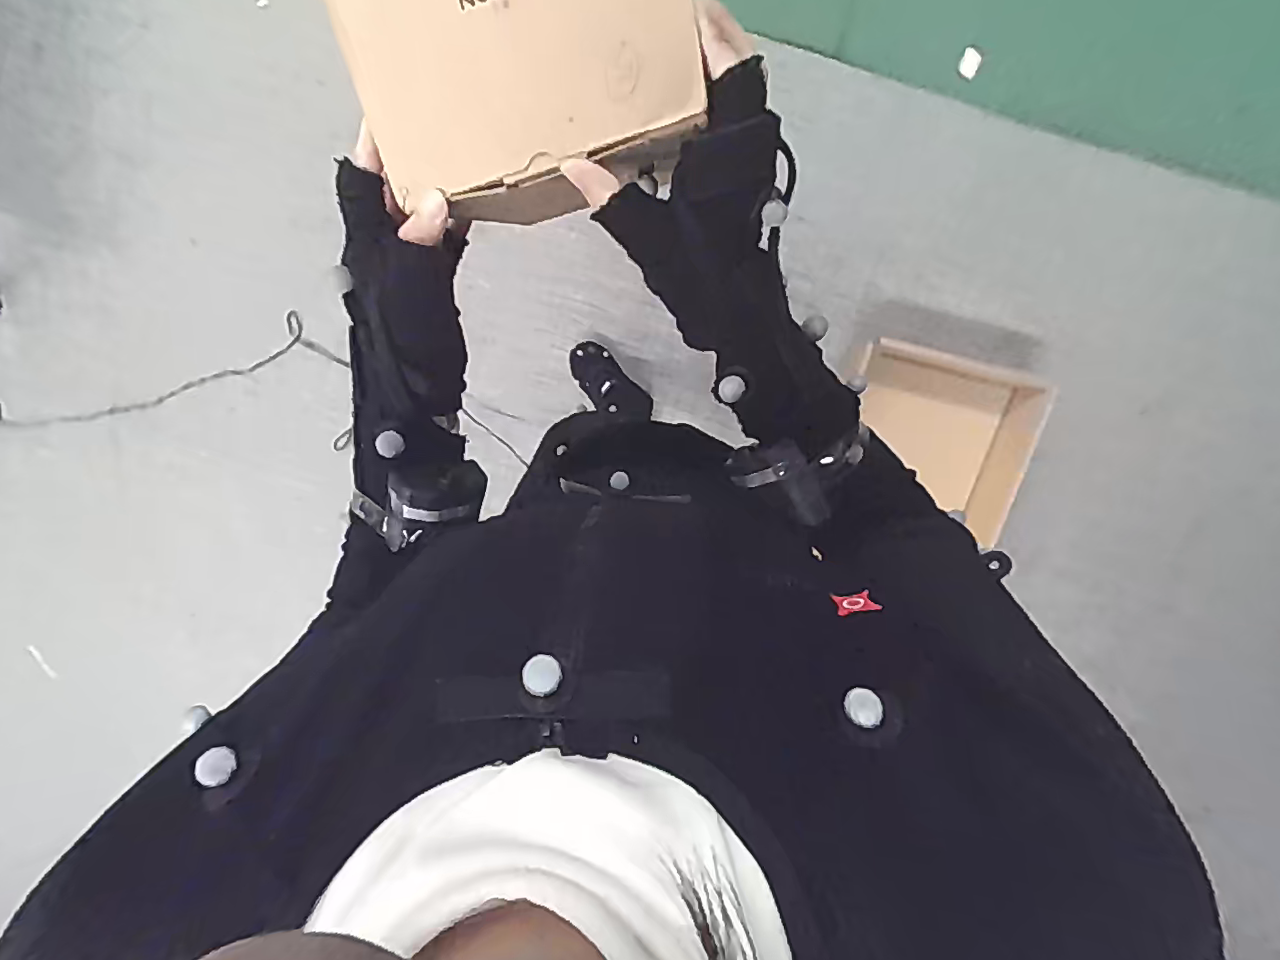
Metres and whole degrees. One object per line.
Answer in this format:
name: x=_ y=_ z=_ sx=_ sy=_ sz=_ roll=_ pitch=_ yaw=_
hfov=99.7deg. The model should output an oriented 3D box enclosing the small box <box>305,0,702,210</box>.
small box: x=-0.065 y=-0.268 z=0.311 sx=0.168 sy=0.176 sz=0.179 roll=-9 pitch=110 yaw=16
